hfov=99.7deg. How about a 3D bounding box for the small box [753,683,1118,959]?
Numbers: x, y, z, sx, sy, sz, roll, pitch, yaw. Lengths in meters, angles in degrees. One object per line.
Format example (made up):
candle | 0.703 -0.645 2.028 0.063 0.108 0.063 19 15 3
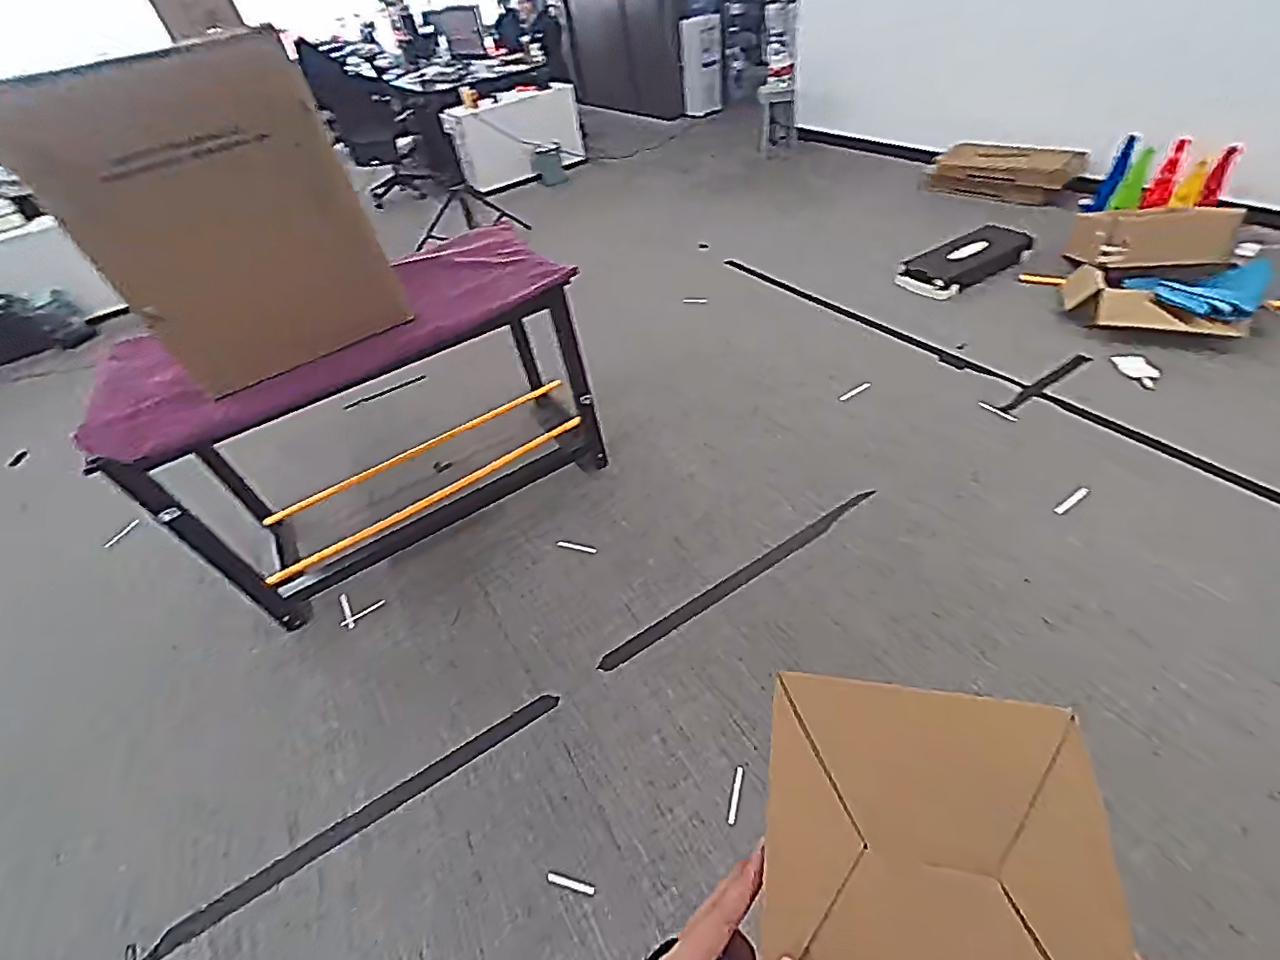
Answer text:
small box | 0.164 0.251 0.345 0.168 0.176 0.179 2 54 17

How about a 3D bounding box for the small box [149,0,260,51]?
small box | -0.943 -1.029 1.144 0.168 0.176 0.179 -29 47 -17
